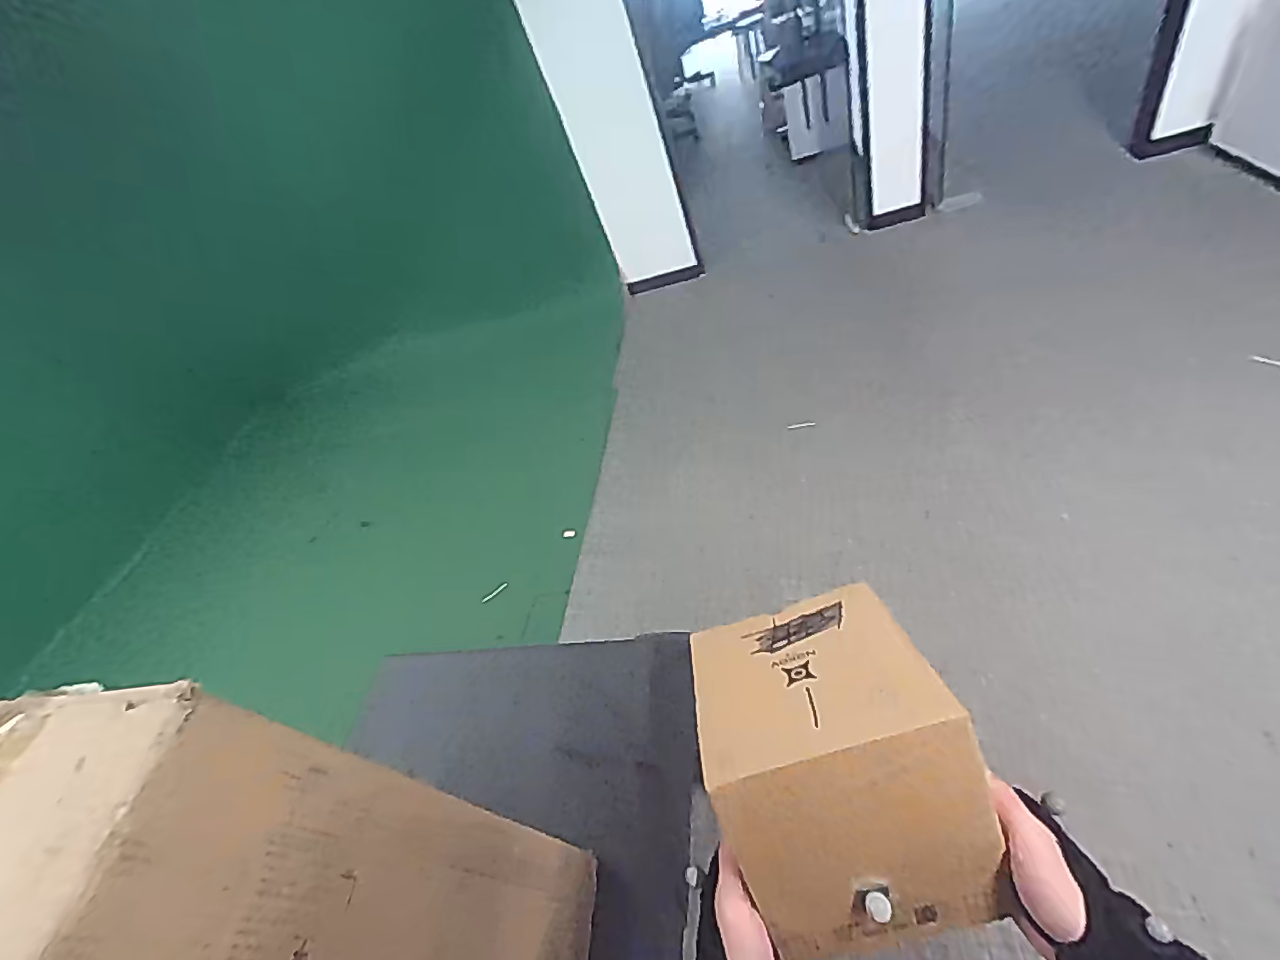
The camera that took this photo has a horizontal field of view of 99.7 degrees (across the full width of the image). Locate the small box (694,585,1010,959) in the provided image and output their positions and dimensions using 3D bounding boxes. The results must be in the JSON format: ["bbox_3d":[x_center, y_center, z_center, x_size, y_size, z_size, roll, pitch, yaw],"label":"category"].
[{"bbox_3d":[0.147,0.215,0.424,0.168,0.176,0.179,-20,15,9],"label":"small box"}]
